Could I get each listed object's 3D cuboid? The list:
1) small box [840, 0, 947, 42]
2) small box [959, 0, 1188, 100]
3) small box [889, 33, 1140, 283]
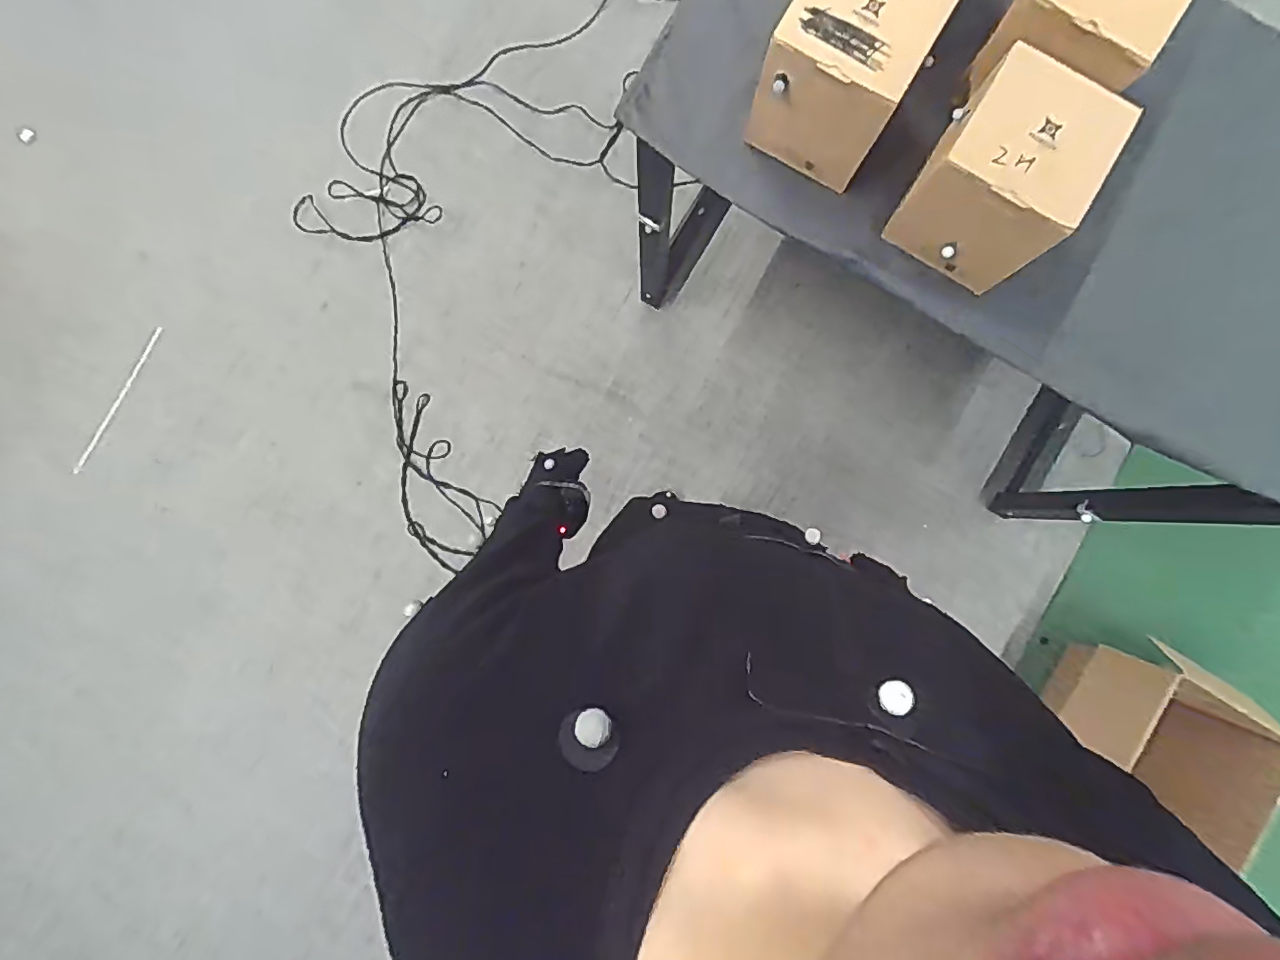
[{"bbox_3d":[0.371,-0.739,0.708,0.168,0.176,0.179,30,88,1],"label":"small box"},{"bbox_3d":[0.562,-0.595,0.703,0.168,0.176,0.179,33,89,1],"label":"small box"},{"bbox_3d":[0.455,-0.392,0.690,0.168,0.176,0.179,32,86,2],"label":"small box"}]
